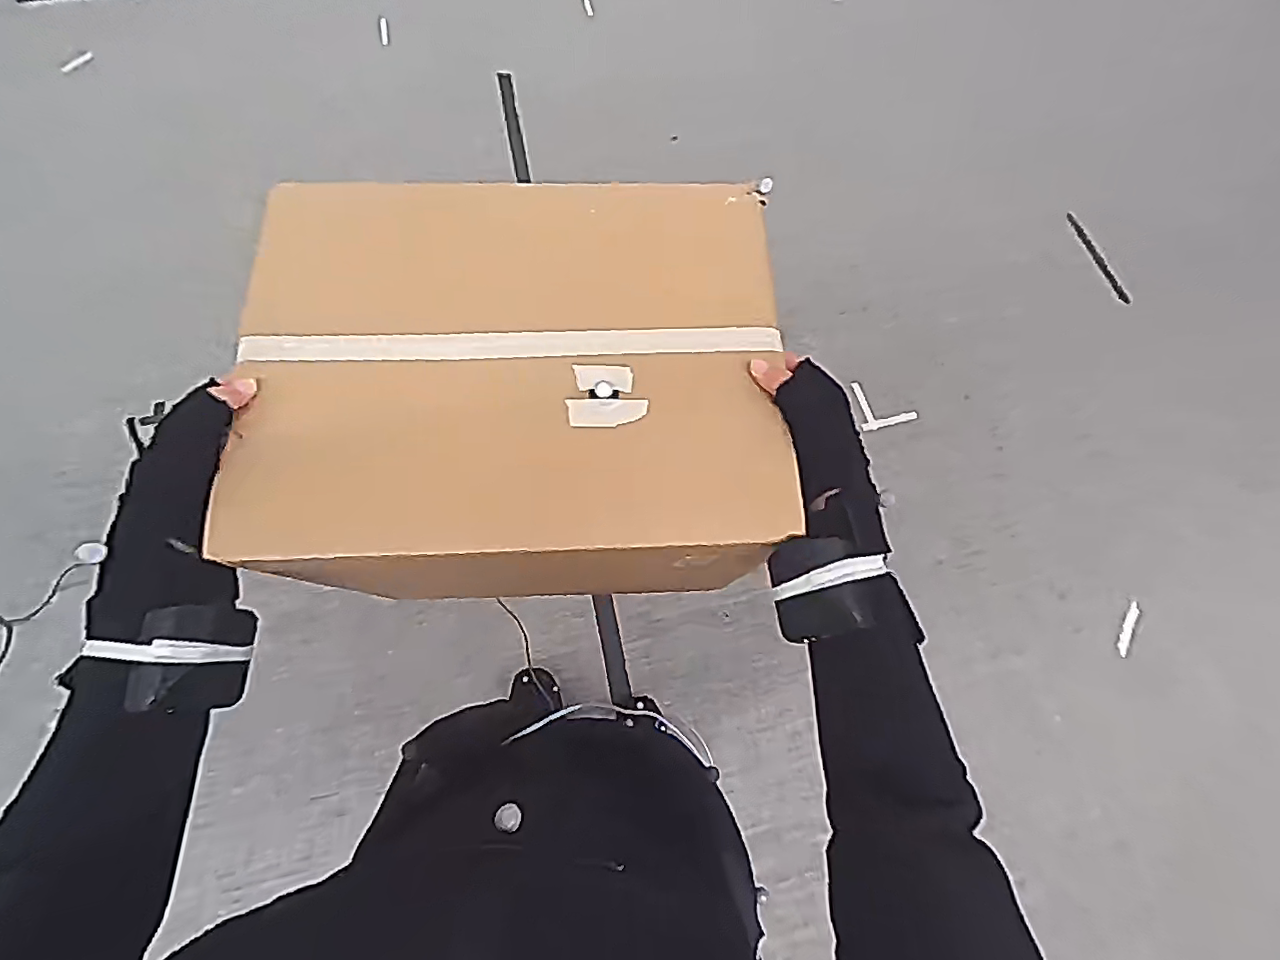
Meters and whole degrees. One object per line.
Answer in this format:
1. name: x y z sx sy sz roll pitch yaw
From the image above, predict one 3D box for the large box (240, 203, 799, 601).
1. large box: -0.096 -0.051 0.568 0.408 0.320 0.320 -2 74 -3
